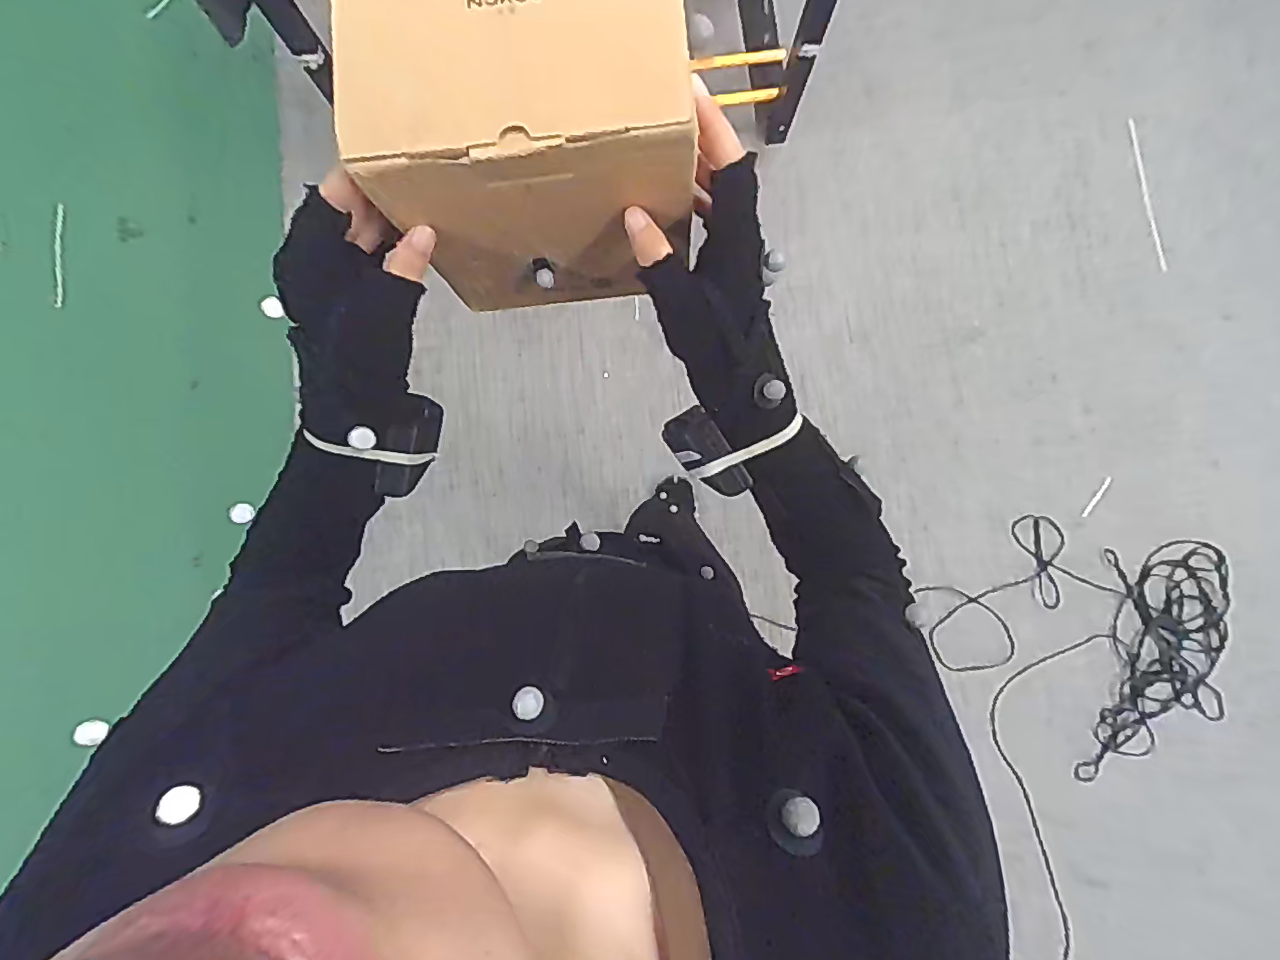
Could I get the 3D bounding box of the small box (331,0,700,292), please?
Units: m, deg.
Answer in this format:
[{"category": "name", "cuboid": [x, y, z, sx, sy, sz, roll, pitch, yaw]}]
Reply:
[{"category": "small box", "cuboid": [-0.057, -0.238, 0.327, 0.168, 0.176, 0.179, -5, 85, 3]}]
